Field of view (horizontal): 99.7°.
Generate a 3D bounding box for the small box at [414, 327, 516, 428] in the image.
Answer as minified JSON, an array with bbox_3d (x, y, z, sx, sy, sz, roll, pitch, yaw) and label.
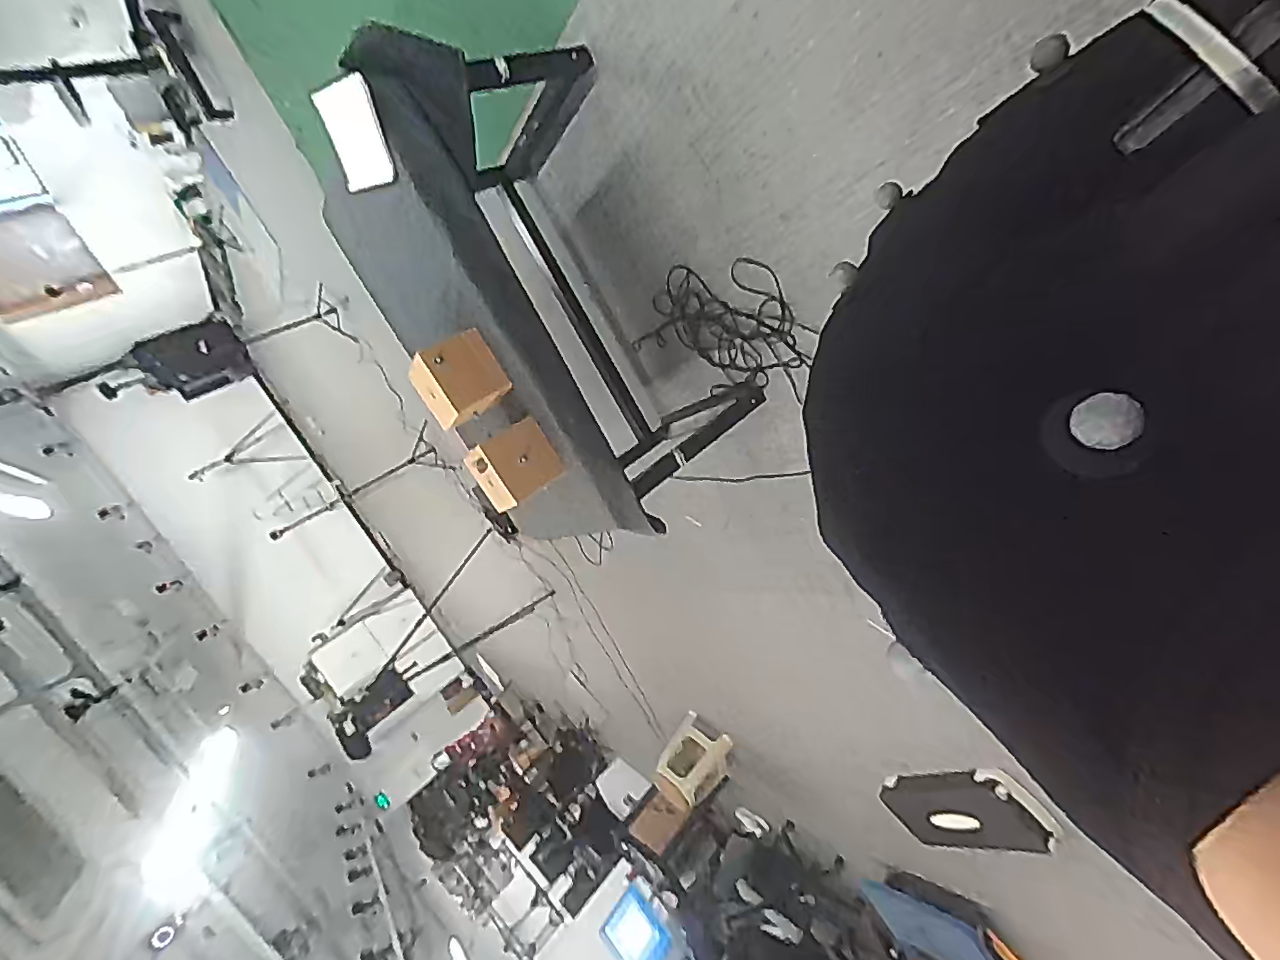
[{"bbox_3d":[-0.447,-0.263,1.389,0.179,0.176,0.168,58,148,-7],"label":"small box"}]
